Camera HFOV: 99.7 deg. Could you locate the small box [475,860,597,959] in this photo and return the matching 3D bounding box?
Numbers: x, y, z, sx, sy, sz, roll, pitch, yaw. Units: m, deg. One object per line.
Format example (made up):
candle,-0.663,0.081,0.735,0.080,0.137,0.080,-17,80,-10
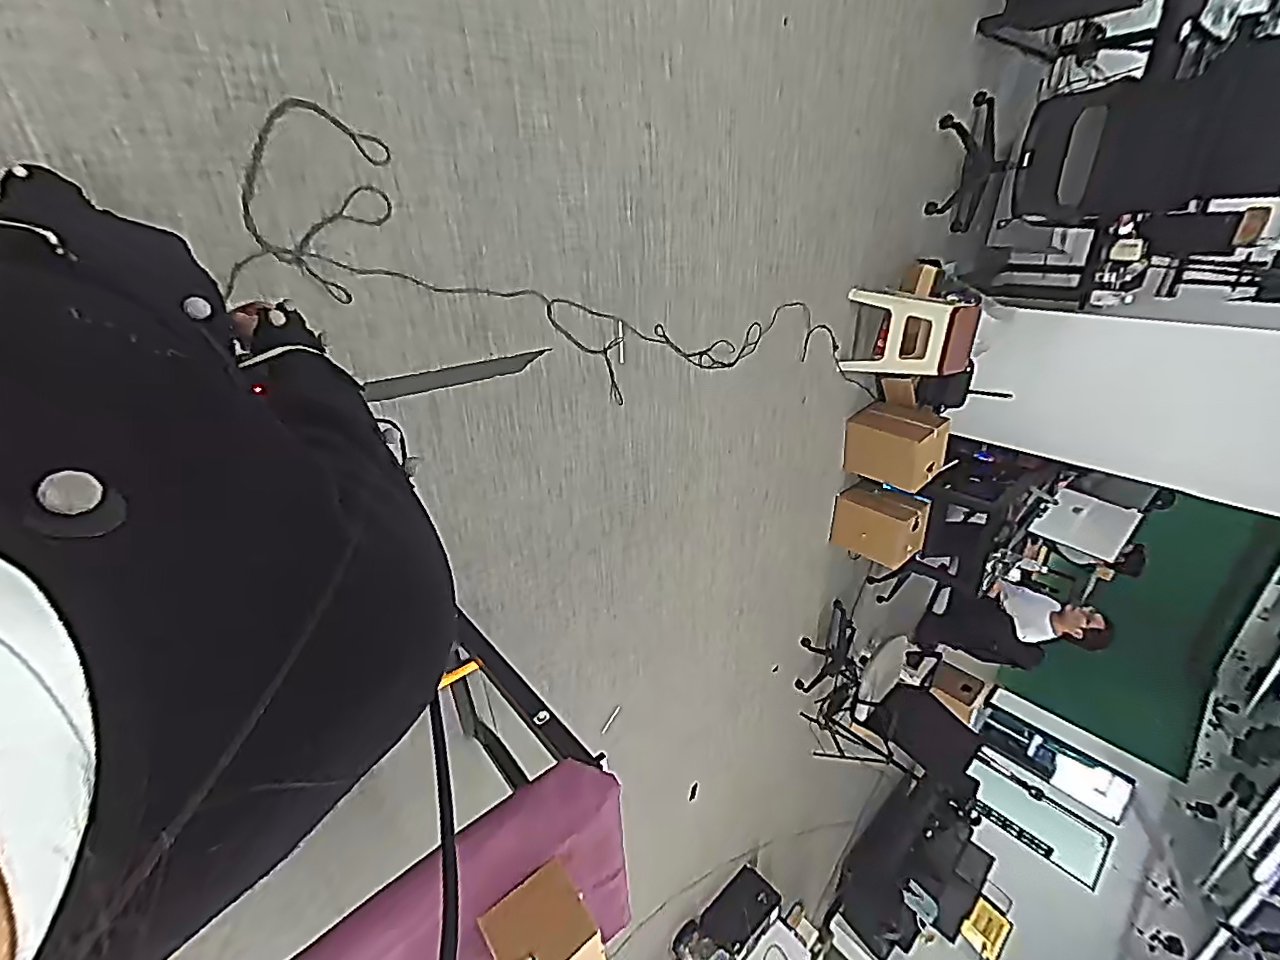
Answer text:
small box,-0.203,0.903,1.049,0.179,0.176,0.168,-24,124,-32
